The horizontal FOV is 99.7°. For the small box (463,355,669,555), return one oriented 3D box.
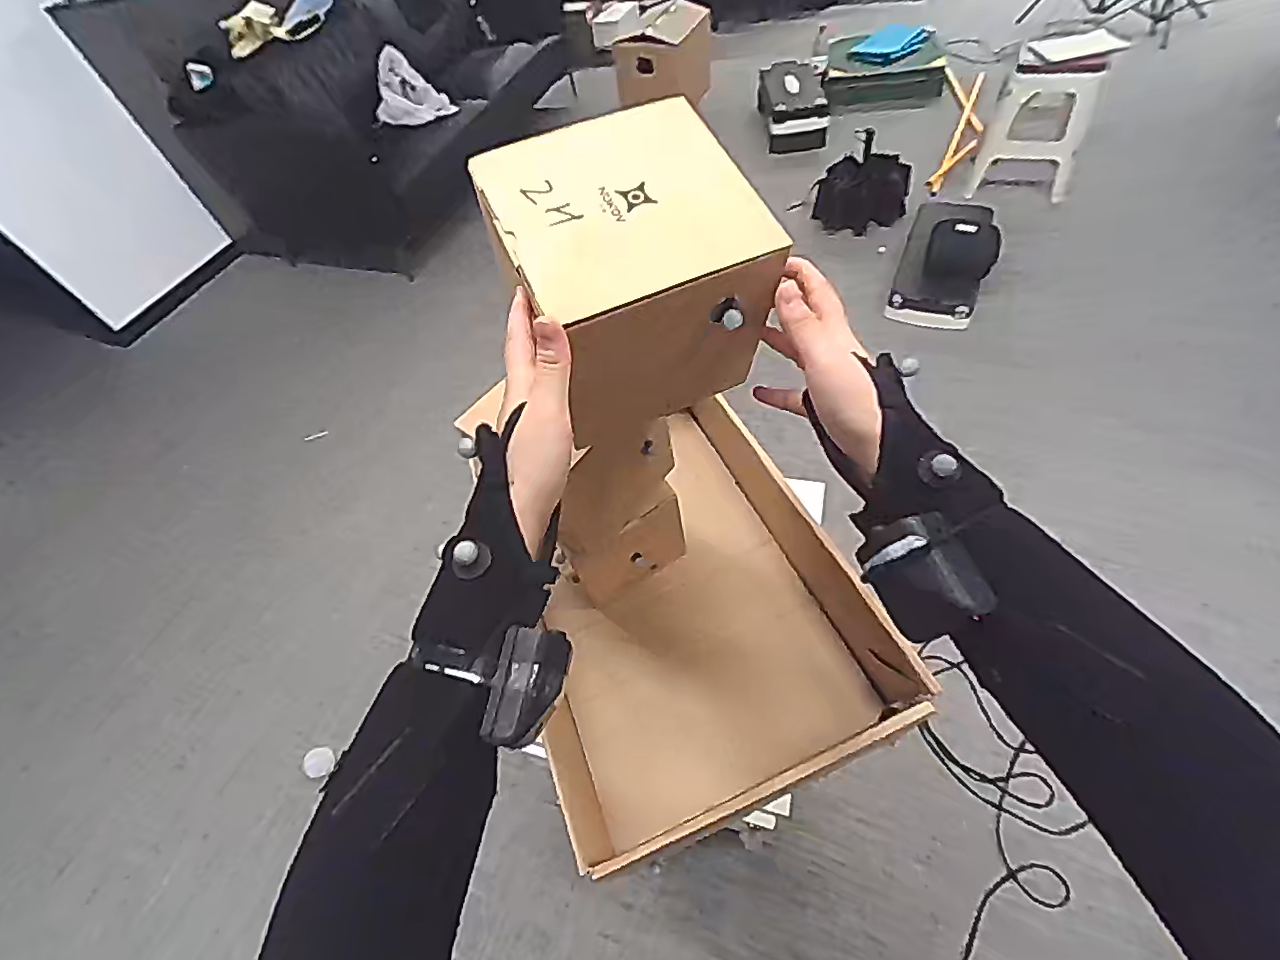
[{"bbox_3d":[-0.078,-0.040,0.680,0.168,0.176,0.179,29,67,29],"label":"small box"}]

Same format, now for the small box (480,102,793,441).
[{"bbox_3d":[-0.007,-0.160,0.450,0.179,0.176,0.168,-23,69,-9],"label":"small box"}]
